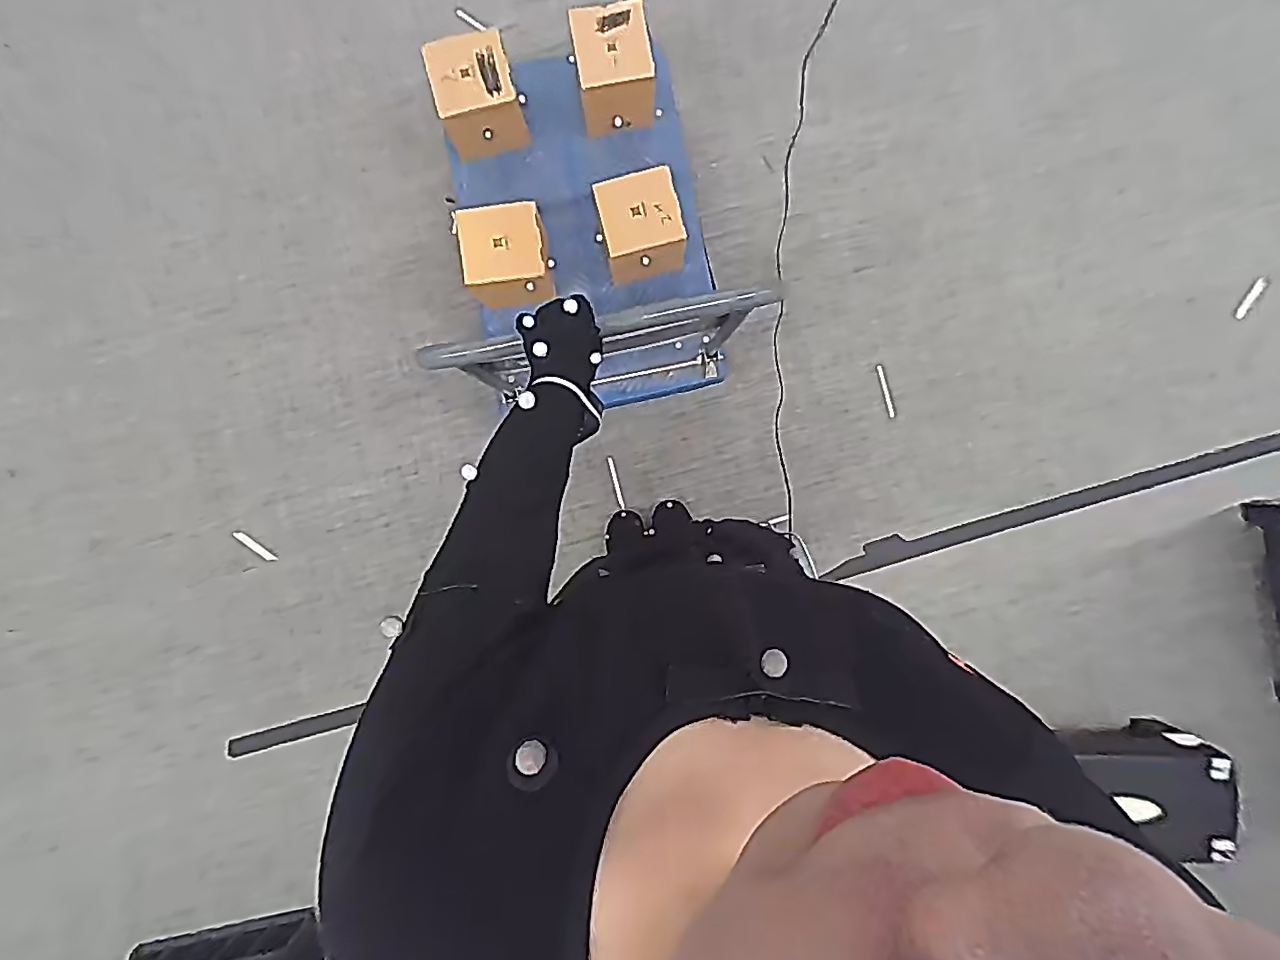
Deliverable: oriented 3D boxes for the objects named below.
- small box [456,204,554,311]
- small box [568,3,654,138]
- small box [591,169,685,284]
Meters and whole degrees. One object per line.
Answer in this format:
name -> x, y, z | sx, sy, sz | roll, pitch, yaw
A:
small box -> -0.305, -0.504, 1.249 | 0.179, 0.176, 0.168 | -9, 89, -2
small box -> -0.067, -0.941, 1.254 | 0.168, 0.176, 0.179 | -11, 91, -1
small box -> -0.003, -0.576, 1.252 | 0.179, 0.176, 0.168 | -15, 90, 0
